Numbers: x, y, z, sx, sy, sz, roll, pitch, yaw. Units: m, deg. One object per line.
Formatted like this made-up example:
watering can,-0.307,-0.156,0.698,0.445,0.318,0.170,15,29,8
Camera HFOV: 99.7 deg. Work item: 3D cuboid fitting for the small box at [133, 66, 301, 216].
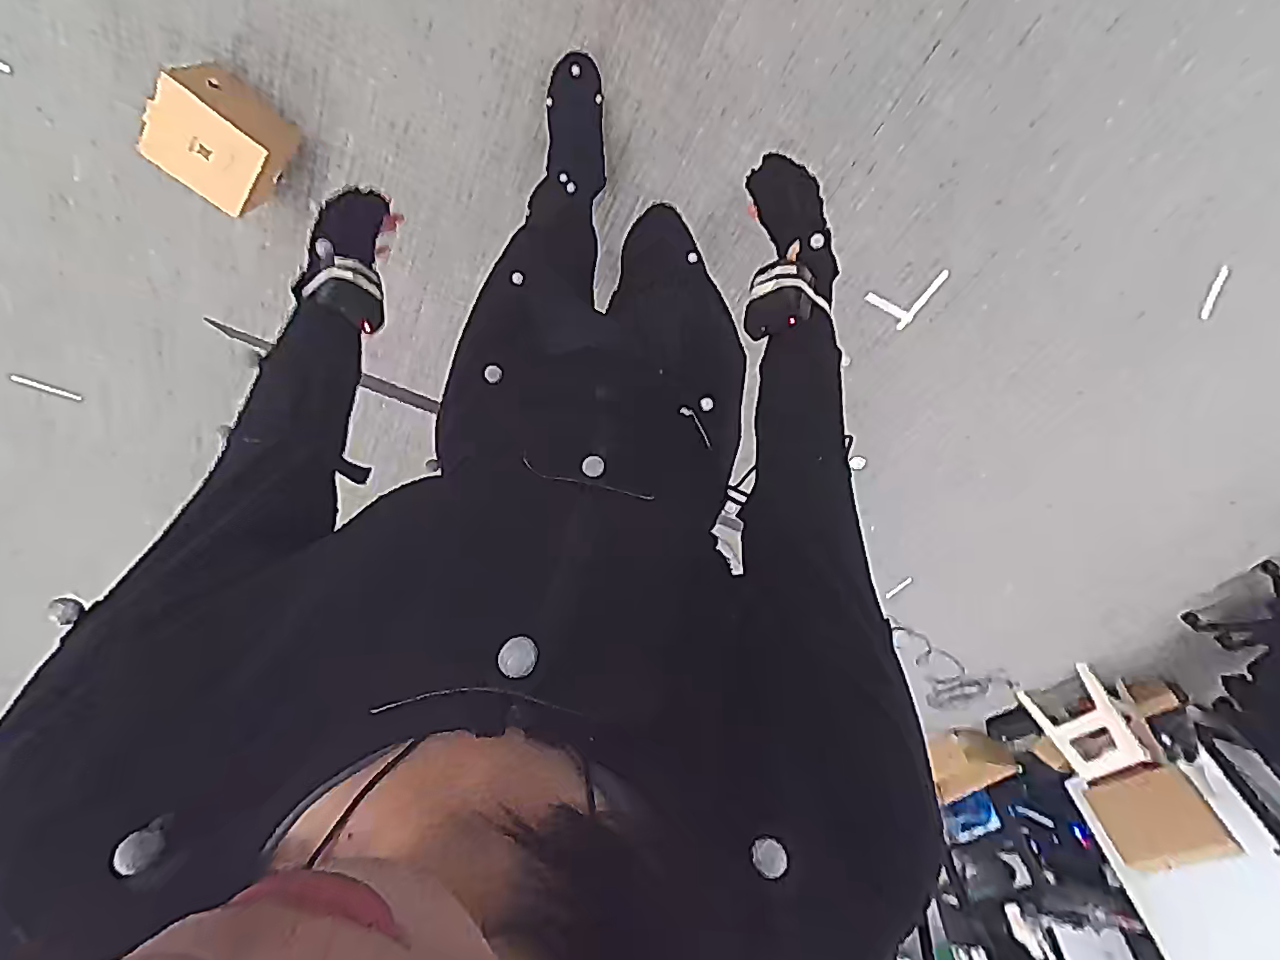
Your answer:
small box,-0.804,-0.656,1.043,0.179,0.176,0.168,35,122,-30
